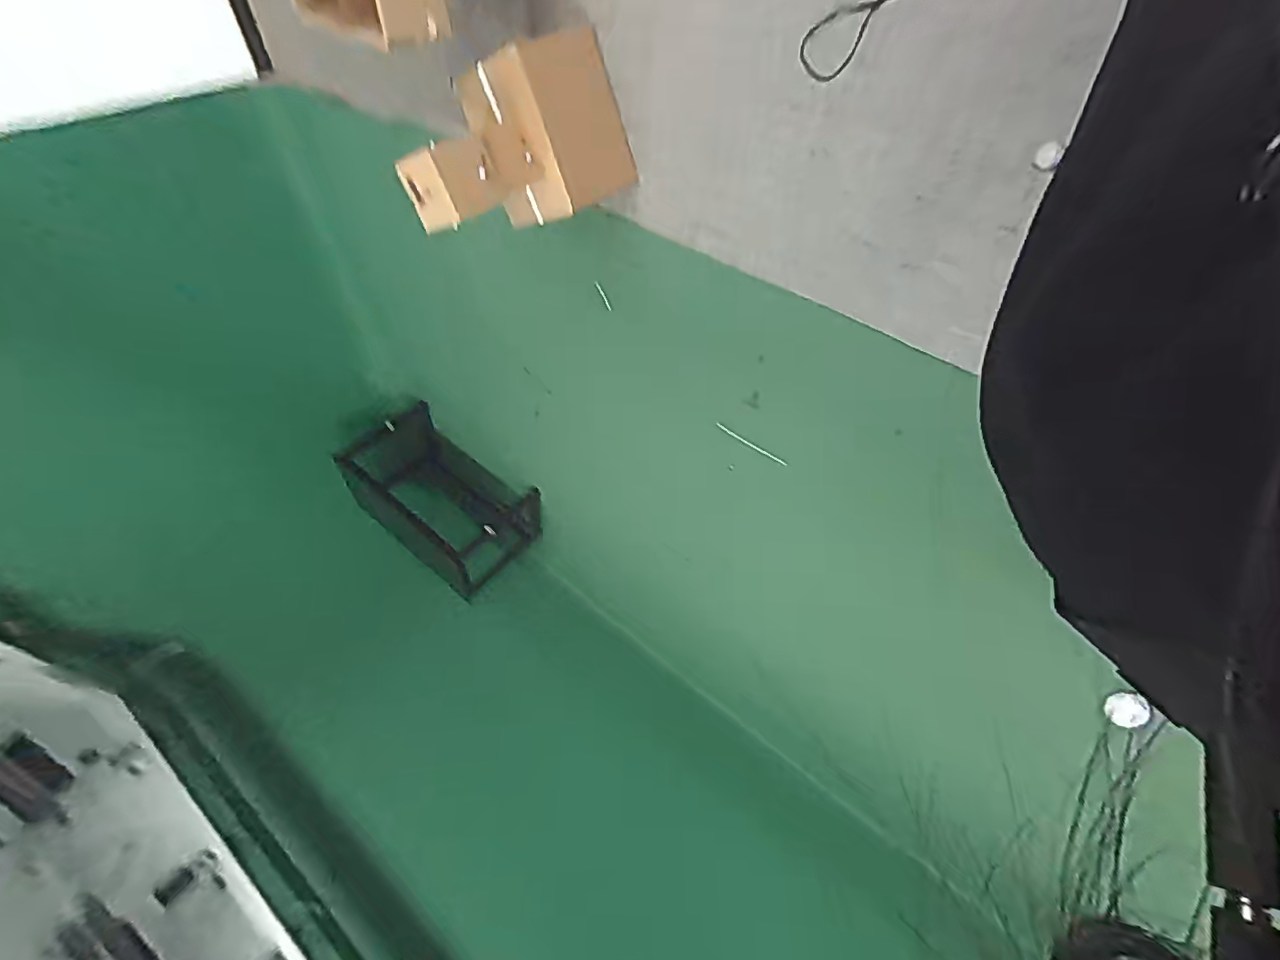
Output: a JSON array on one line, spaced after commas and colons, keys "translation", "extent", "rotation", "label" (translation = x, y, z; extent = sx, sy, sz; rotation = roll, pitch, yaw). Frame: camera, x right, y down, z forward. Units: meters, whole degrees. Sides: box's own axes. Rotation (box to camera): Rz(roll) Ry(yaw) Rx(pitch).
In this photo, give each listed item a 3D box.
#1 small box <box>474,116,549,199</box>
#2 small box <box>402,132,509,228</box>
[{"translation": [-0.390, -0.887, 1.519], "extent": [0.179, 0.176, 0.168], "rotation": [8, 133, 45], "label": "small box"}, {"translation": [-0.481, -0.787, 1.425], "extent": [0.179, 0.176, 0.168], "rotation": [12, 136, 41], "label": "small box"}]
